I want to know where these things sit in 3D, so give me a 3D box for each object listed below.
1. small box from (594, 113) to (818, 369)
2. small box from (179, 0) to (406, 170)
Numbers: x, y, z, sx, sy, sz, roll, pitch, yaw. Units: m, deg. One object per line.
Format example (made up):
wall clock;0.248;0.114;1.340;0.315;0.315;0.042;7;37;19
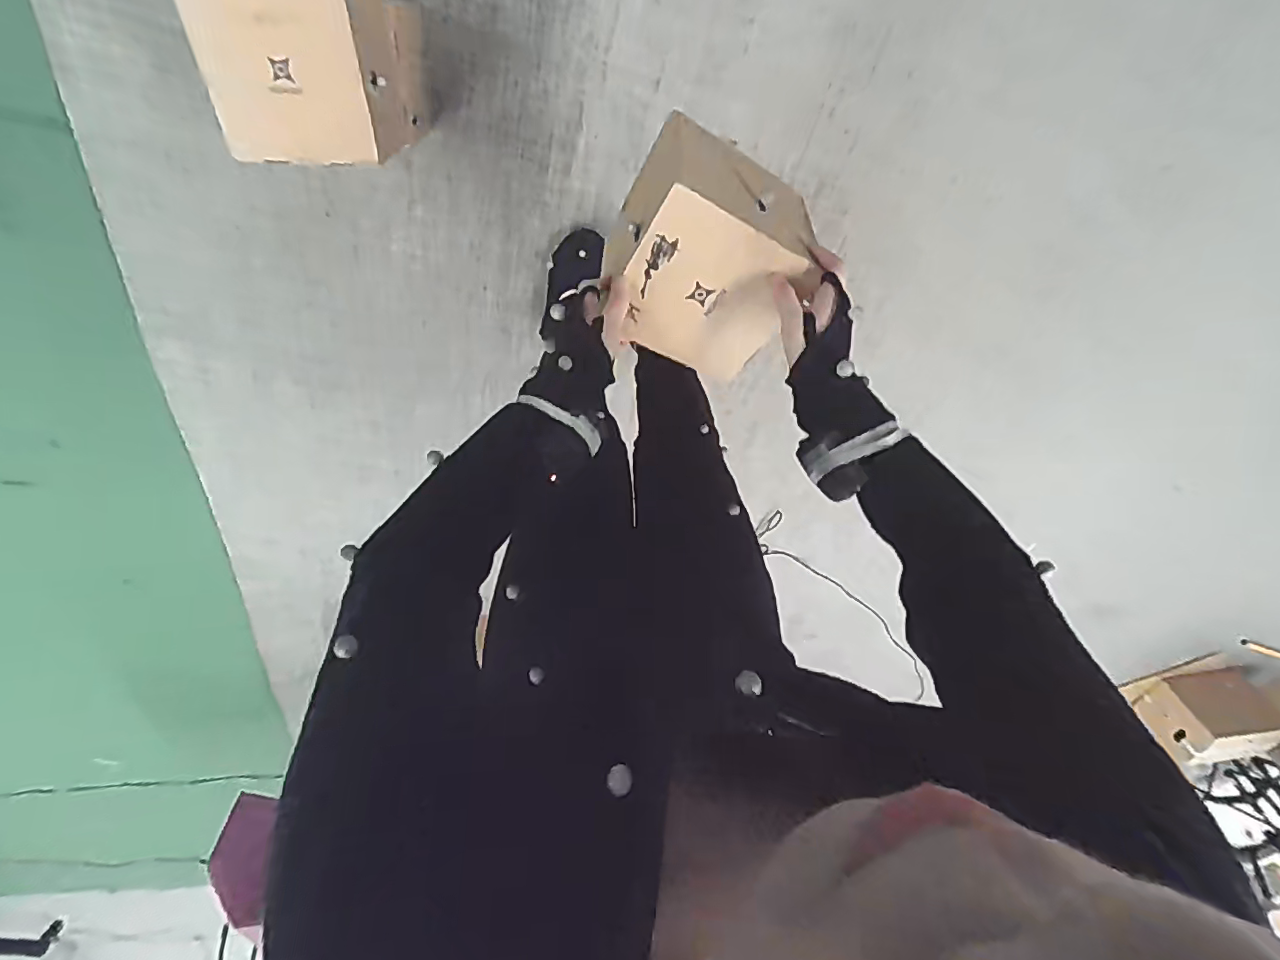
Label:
small box;0.065;-0.261;0.601;0.179;0.176;0.168;19;139;-21
small box;-0.398;-0.496;0.653;0.168;0.176;0.179;-1;130;-8
